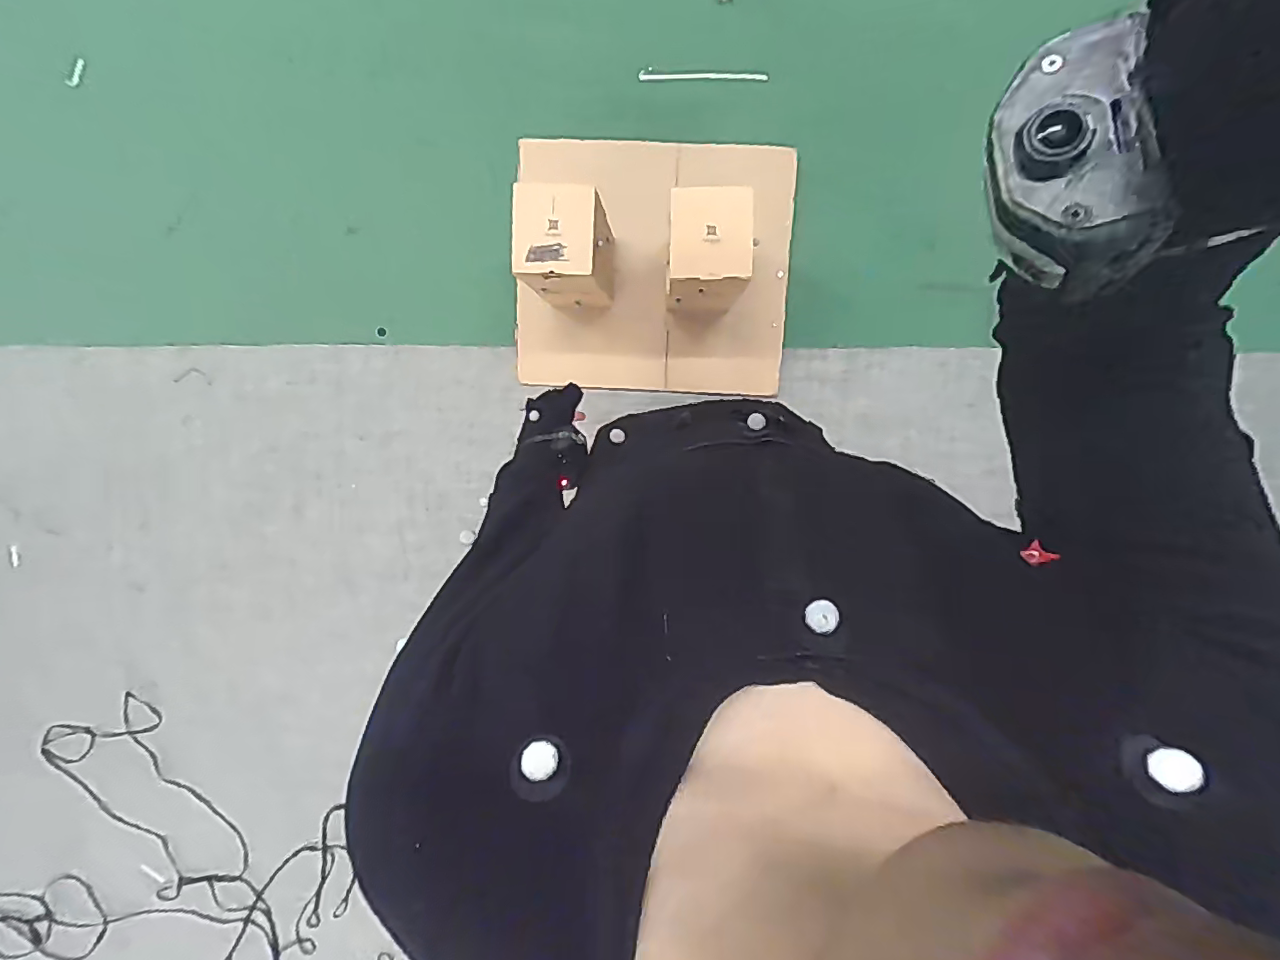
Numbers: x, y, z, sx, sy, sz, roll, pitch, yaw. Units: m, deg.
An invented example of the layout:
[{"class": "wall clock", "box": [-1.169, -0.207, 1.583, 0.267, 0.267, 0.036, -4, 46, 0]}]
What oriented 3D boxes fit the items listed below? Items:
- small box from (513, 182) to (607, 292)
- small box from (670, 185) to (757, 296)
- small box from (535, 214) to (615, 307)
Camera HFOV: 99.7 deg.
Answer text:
[{"class": "small box", "box": [-0.164, -0.505, 1.145, 0.168, 0.176, 0.179, 4, 97, 3]}, {"class": "small box", "box": [0.147, -0.493, 1.134, 0.168, 0.176, 0.179, 0, 98, 3]}, {"class": "small box", "box": [-0.152, -0.526, 1.308, 0.168, 0.176, 0.179, 2, 98, 4]}]
